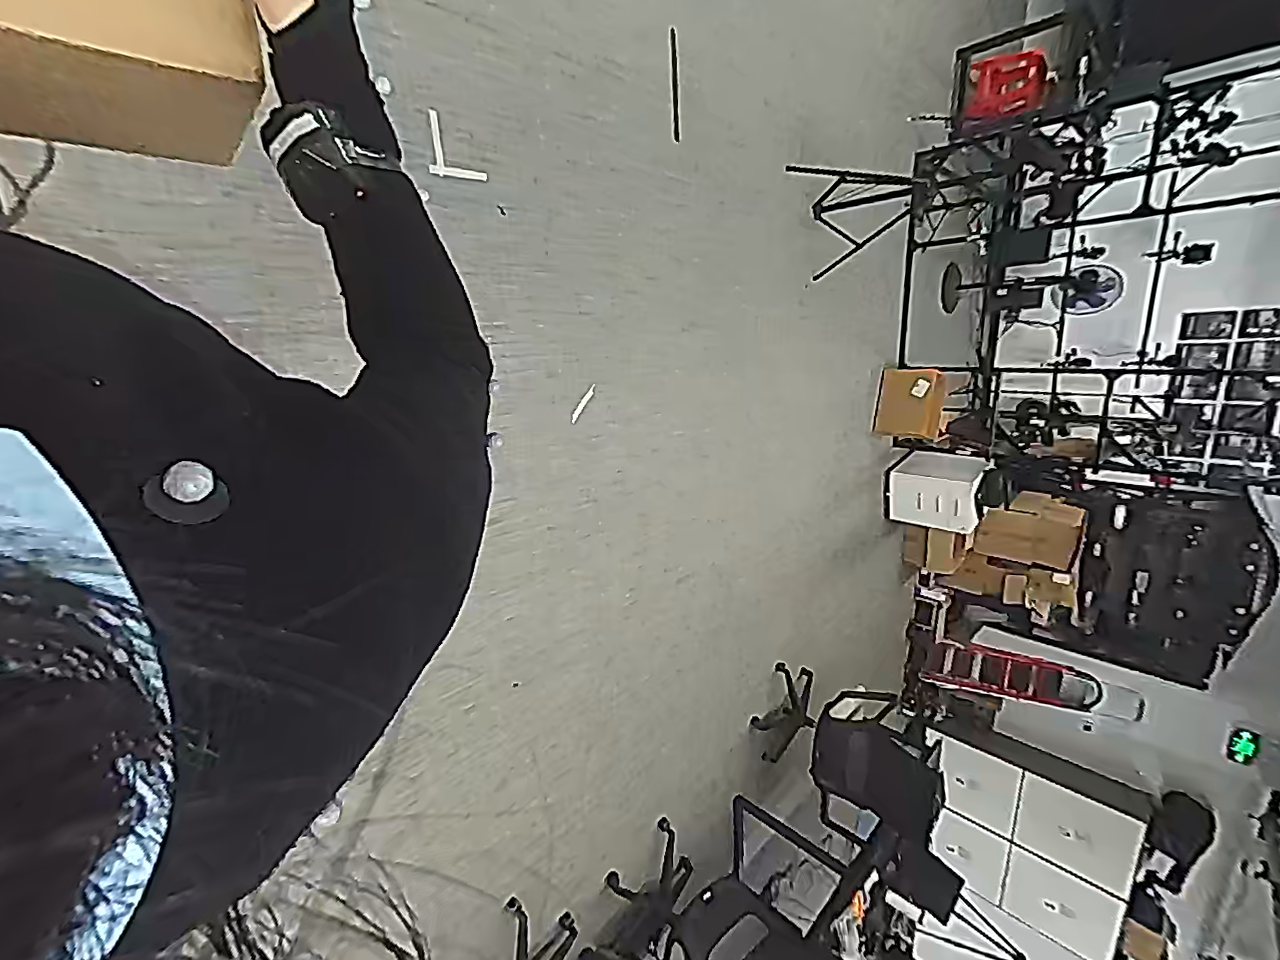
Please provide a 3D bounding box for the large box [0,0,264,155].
[{"bbox_3d":[-0.526,-0.442,0.352,0.408,0.320,0.320,-13,111,-37],"label":"large box"}]
